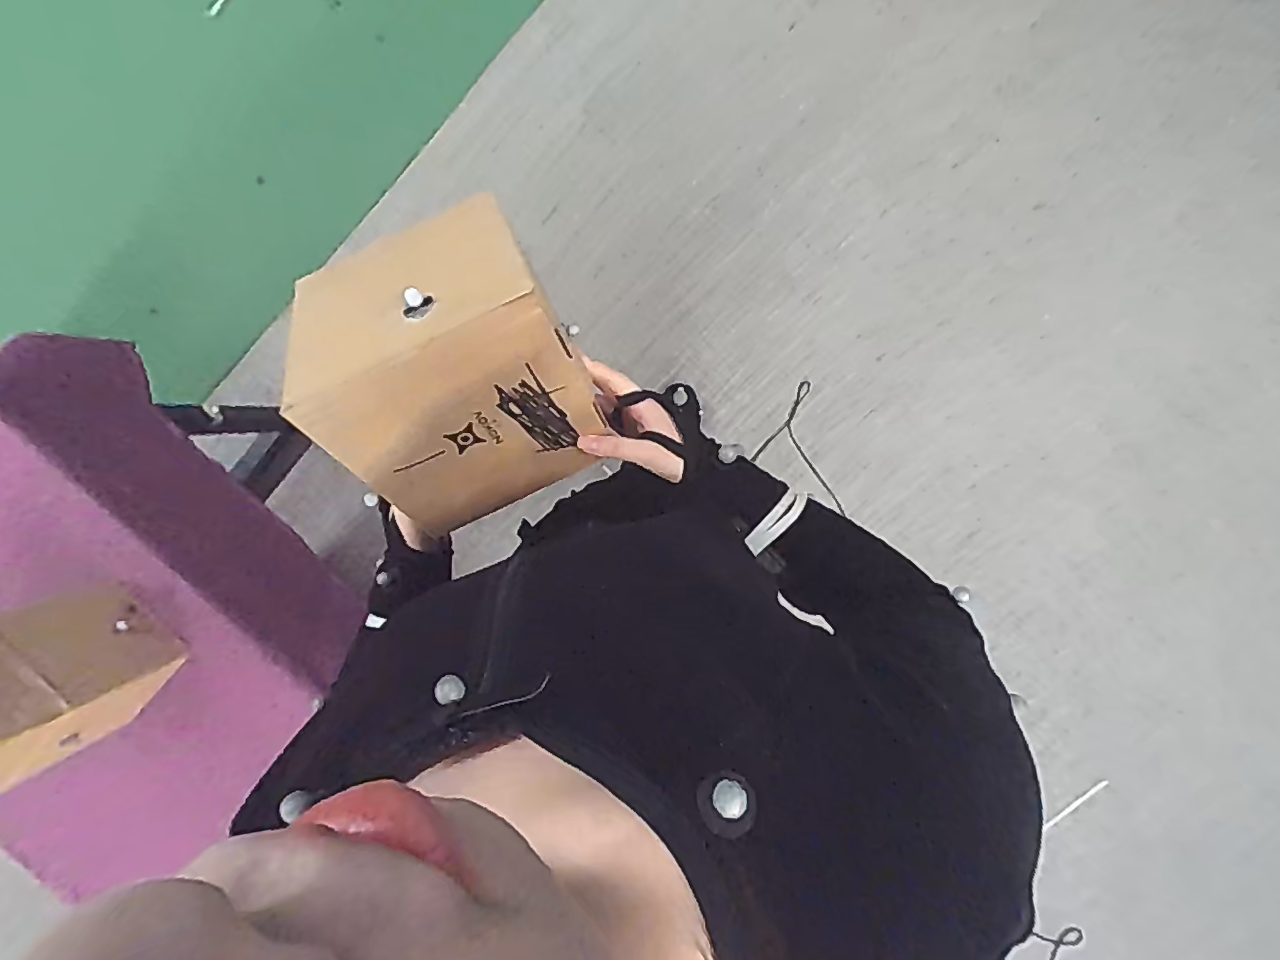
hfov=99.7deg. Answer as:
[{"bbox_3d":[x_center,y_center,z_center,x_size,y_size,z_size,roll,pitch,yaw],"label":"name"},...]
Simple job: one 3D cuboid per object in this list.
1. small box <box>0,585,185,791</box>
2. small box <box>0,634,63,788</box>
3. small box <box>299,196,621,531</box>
[{"bbox_3d":[-0.816,0.281,0.768,0.179,0.176,0.168,-44,92,8],"label":"small box"},{"bbox_3d":[-0.832,0.299,0.606,0.179,0.176,0.168,-44,91,7],"label":"small box"},{"bbox_3d":[-0.139,-0.095,0.439,0.179,0.168,0.176,-24,52,1],"label":"small box"}]
